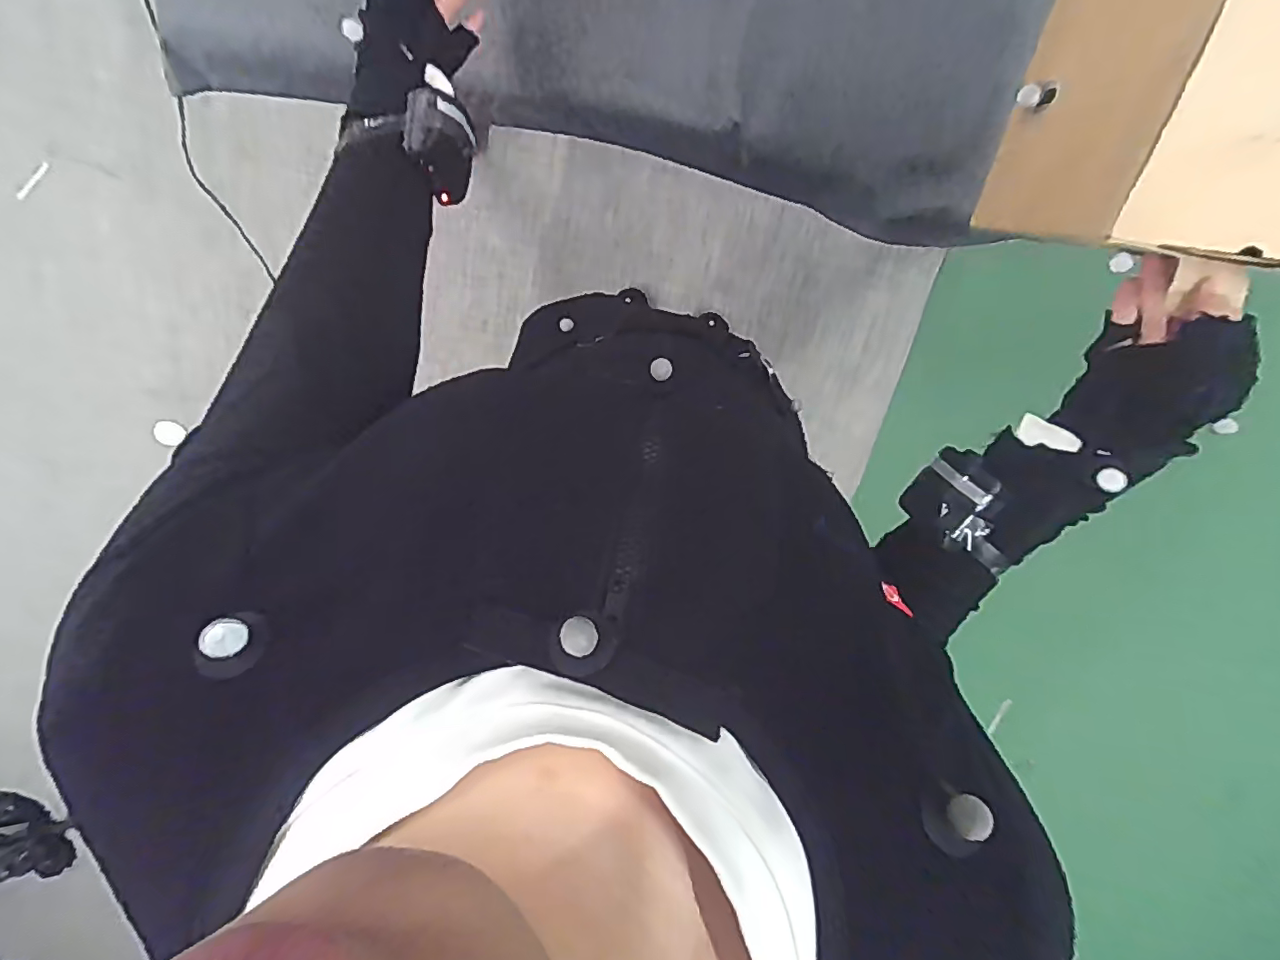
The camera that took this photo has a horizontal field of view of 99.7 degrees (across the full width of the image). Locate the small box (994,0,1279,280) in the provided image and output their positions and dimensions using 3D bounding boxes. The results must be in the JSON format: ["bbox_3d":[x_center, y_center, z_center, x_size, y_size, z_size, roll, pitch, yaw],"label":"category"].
[{"bbox_3d":[0.368,-0.235,0.342,0.168,0.176,0.179,8,118,0],"label":"small box"}]
